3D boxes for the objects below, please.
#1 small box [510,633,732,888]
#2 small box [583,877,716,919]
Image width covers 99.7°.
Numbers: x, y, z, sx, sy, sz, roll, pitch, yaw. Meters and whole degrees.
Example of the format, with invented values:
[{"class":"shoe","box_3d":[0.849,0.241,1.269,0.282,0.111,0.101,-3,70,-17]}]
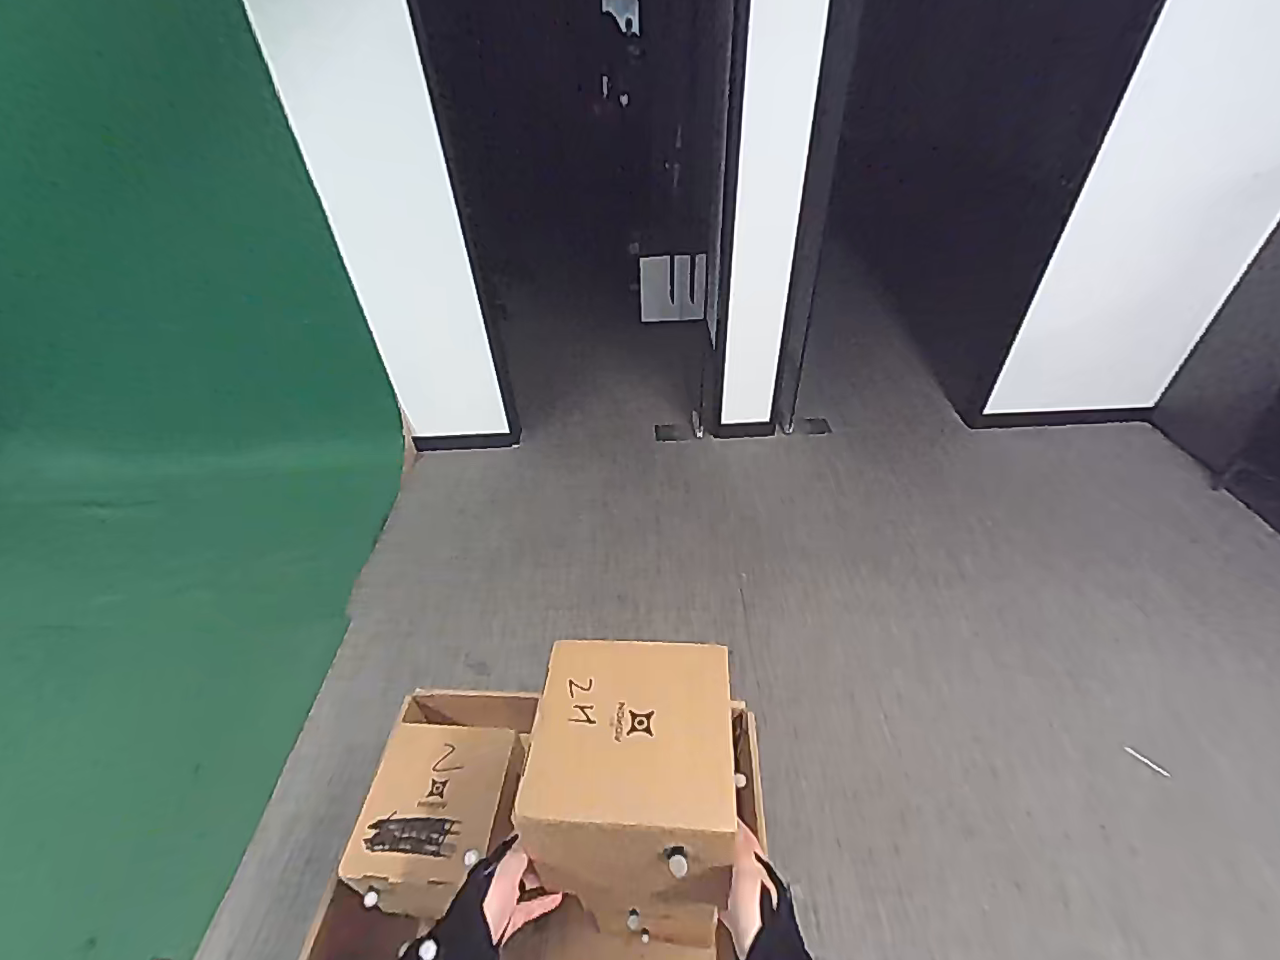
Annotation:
[{"class":"small box","box_3d":[-0.004,0.271,0.527,0.179,0.176,0.168,-1,37,7]},{"class":"small box","box_3d":[0.014,0.441,0.708,0.168,0.176,0.179,1,43,7]}]
